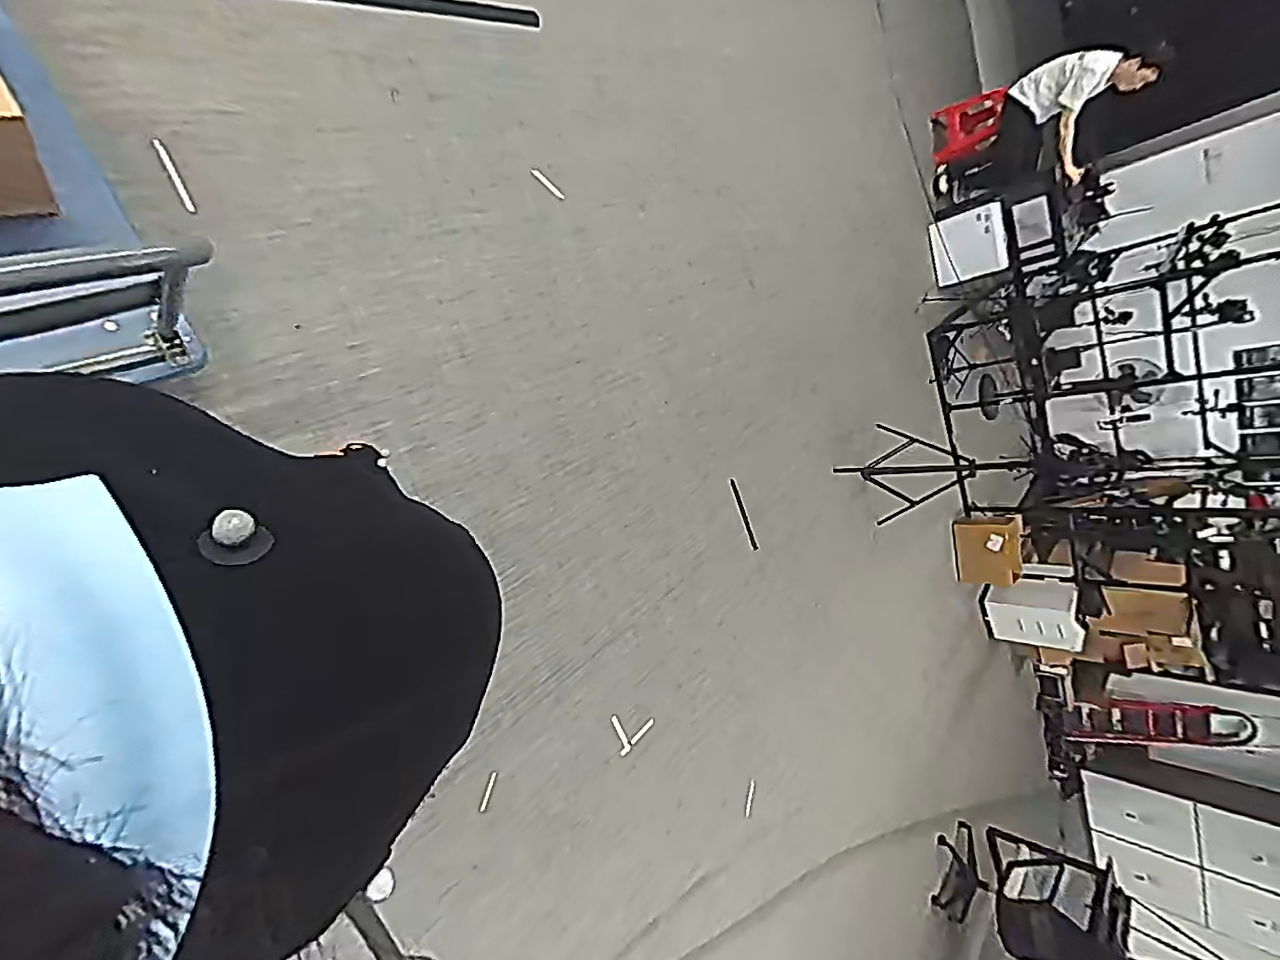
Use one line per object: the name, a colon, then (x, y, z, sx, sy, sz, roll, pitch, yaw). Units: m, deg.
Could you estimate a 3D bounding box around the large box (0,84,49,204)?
large box: (-1.112, -0.543, 0.671, 0.408, 0.320, 0.320, -31, 107, -37)
